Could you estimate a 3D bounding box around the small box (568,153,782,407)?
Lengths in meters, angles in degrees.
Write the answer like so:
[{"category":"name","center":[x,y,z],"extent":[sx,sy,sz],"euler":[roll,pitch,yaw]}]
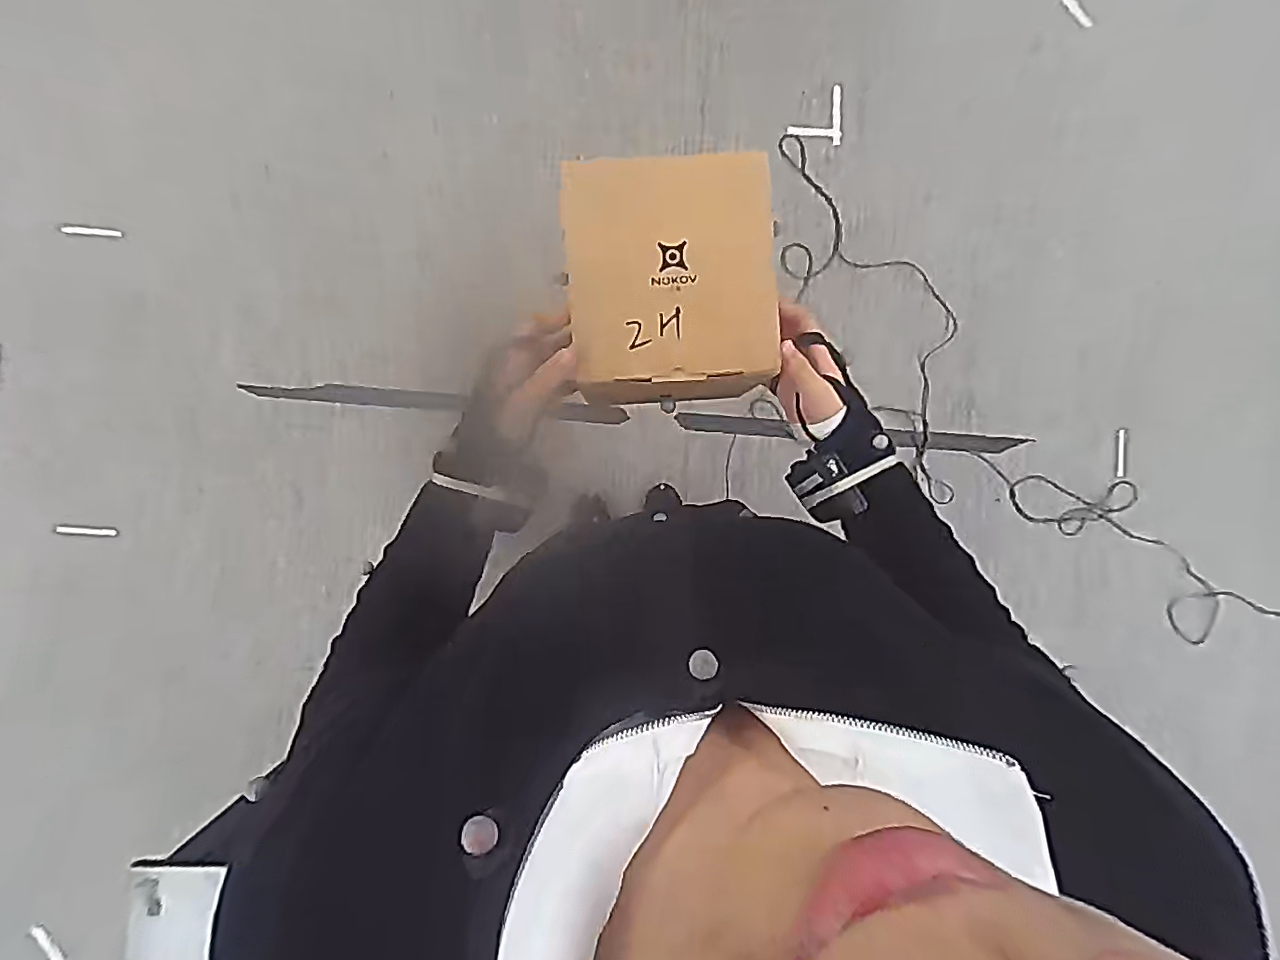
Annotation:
[{"category":"small box","center":[0.026,-0.169,0.505],"extent":[0.168,0.176,0.179],"euler":[-3,91,-1]}]
